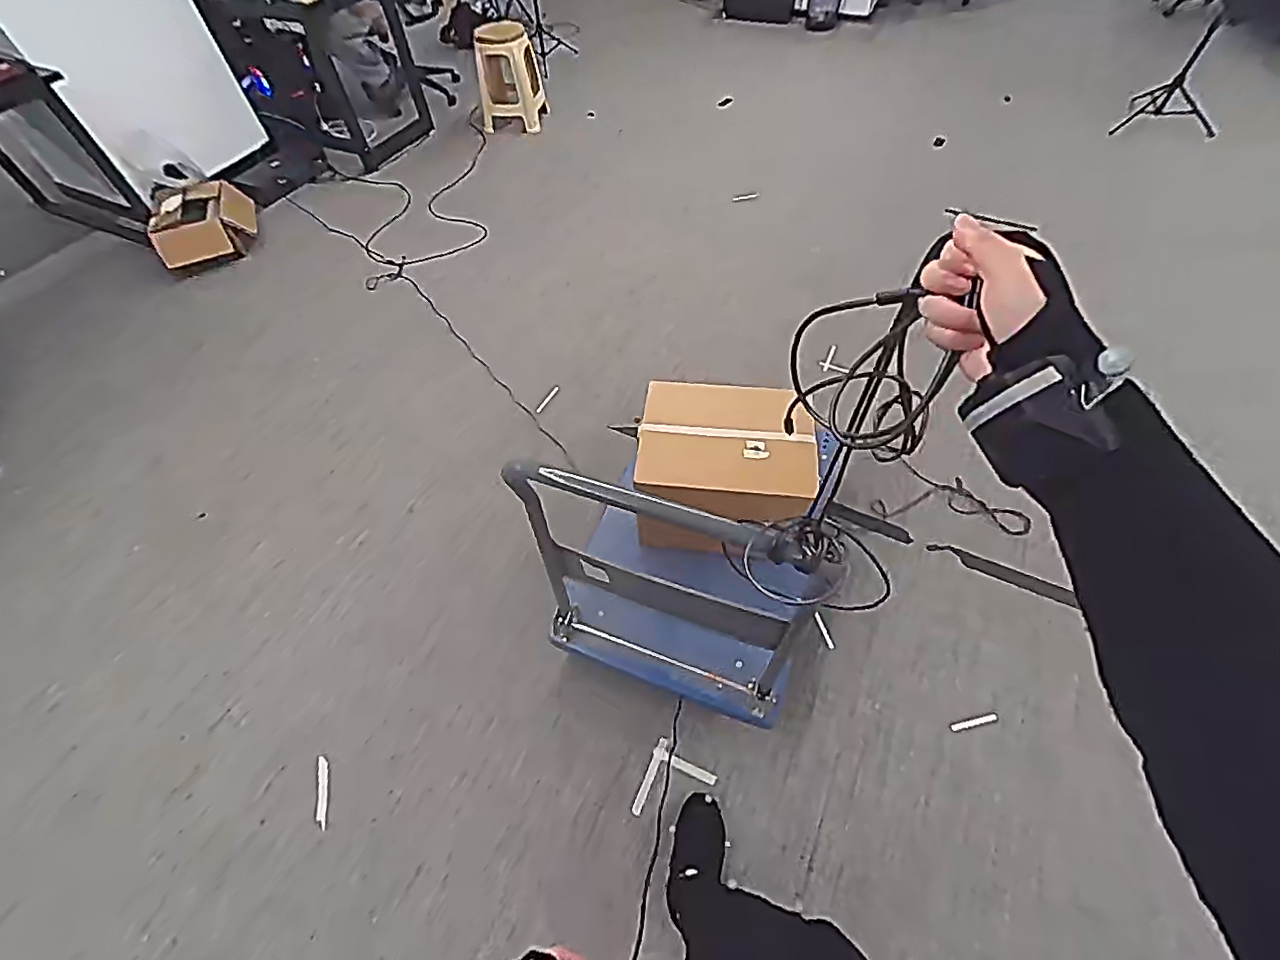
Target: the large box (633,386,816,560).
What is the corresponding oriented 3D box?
[{"bbox_3d":[0.199,-0.013,1.374,0.408,0.320,0.320,5,57,6],"label":"large box"}]
